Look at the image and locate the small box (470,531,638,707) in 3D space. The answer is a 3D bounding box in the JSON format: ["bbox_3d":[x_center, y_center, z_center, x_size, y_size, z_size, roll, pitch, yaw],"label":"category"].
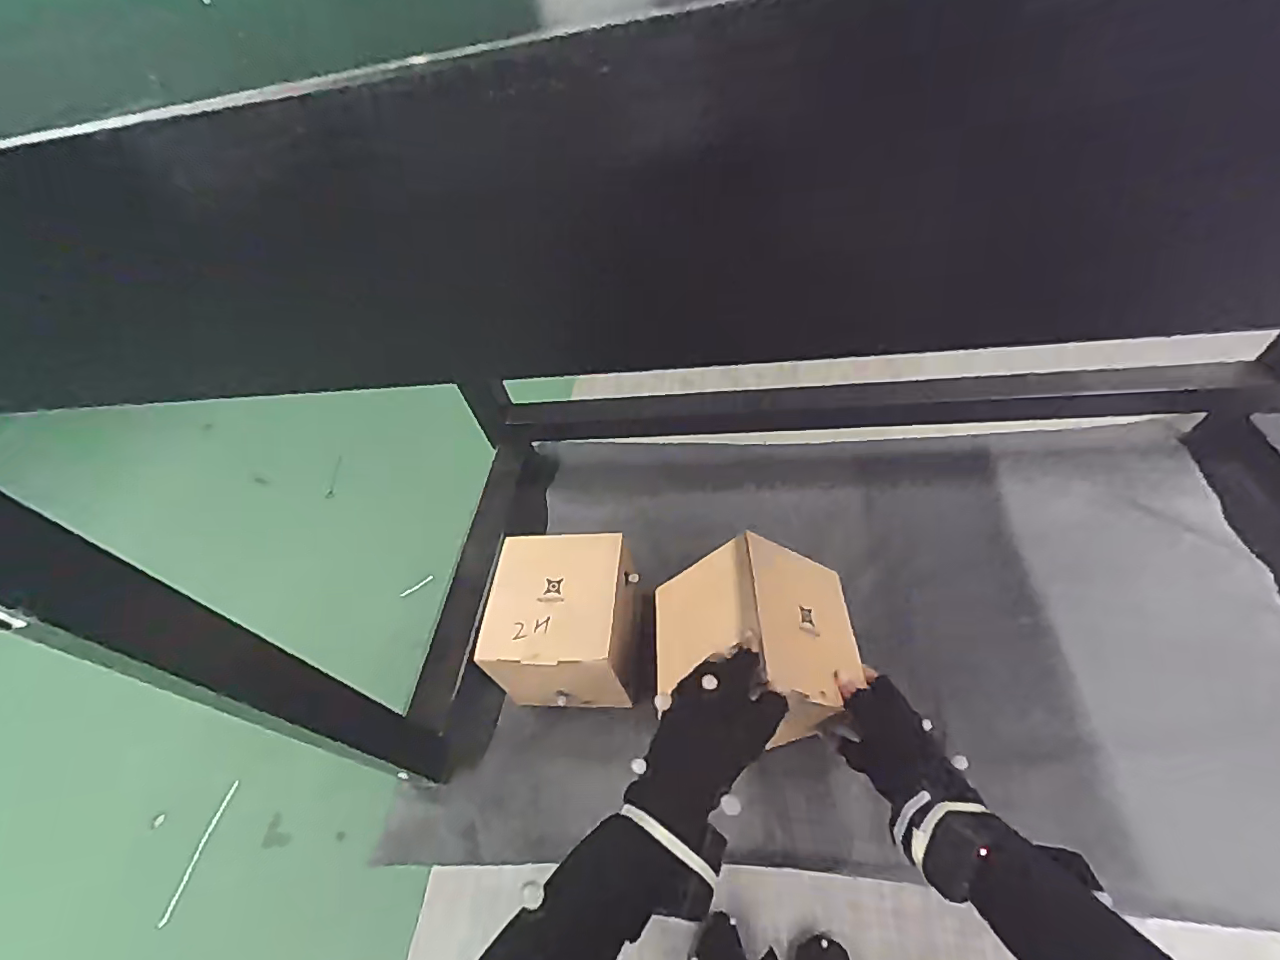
[{"bbox_3d":[-0.099,0.187,0.731,0.168,0.176,0.179,-3,50,11],"label":"small box"}]

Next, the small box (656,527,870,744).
[{"bbox_3d":[0.130,0.190,0.637,0.176,0.168,0.179,-40,36,38],"label":"small box"}]
